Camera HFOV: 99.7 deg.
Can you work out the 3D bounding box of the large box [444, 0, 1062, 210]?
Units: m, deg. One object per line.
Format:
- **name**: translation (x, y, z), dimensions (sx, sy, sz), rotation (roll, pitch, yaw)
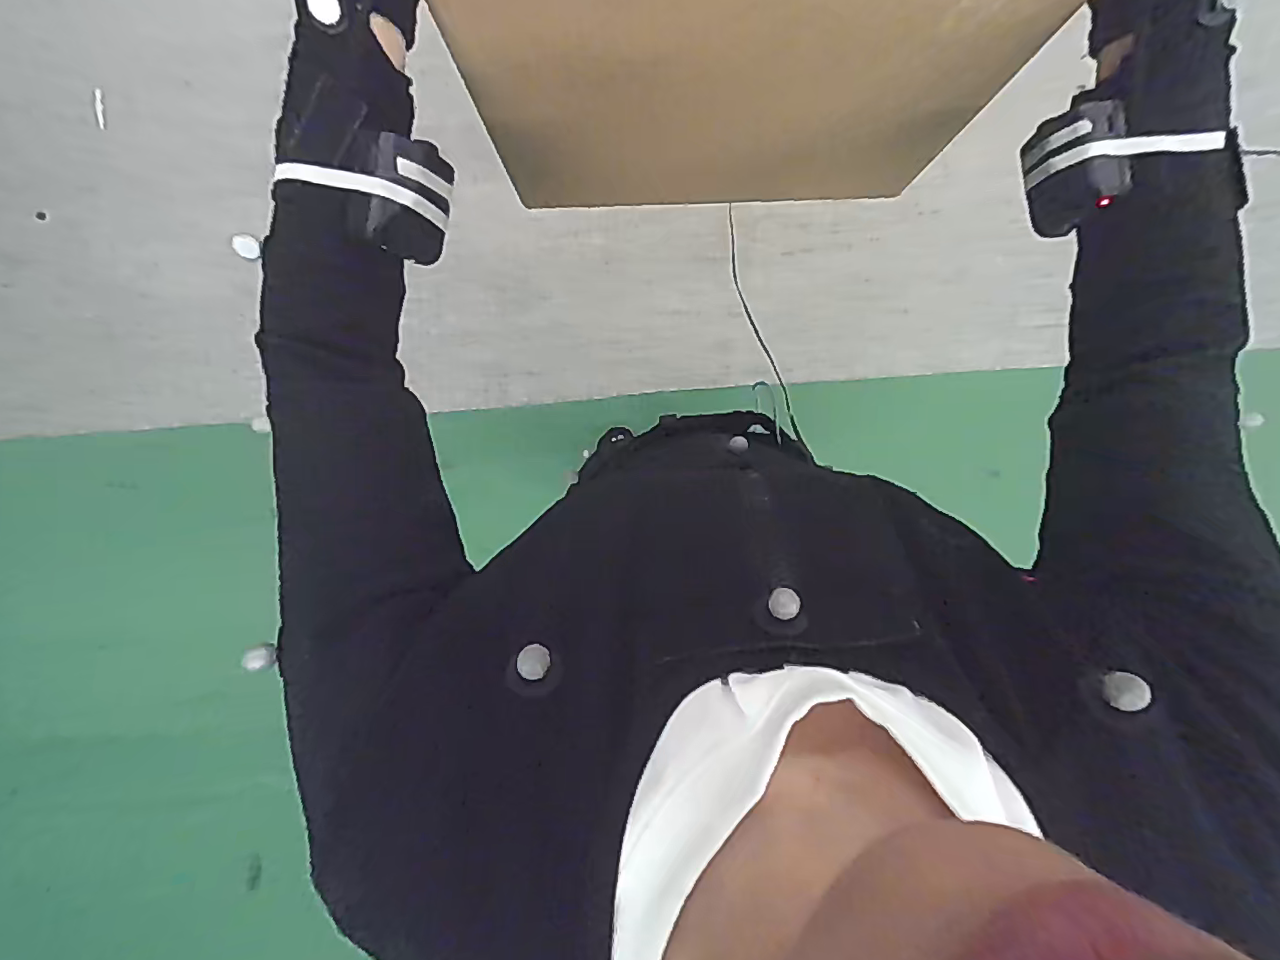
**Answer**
- **large box**: translation (0.067, -0.446, 0.430), dimensions (0.408, 0.320, 0.320), rotation (-3, 92, -1)
